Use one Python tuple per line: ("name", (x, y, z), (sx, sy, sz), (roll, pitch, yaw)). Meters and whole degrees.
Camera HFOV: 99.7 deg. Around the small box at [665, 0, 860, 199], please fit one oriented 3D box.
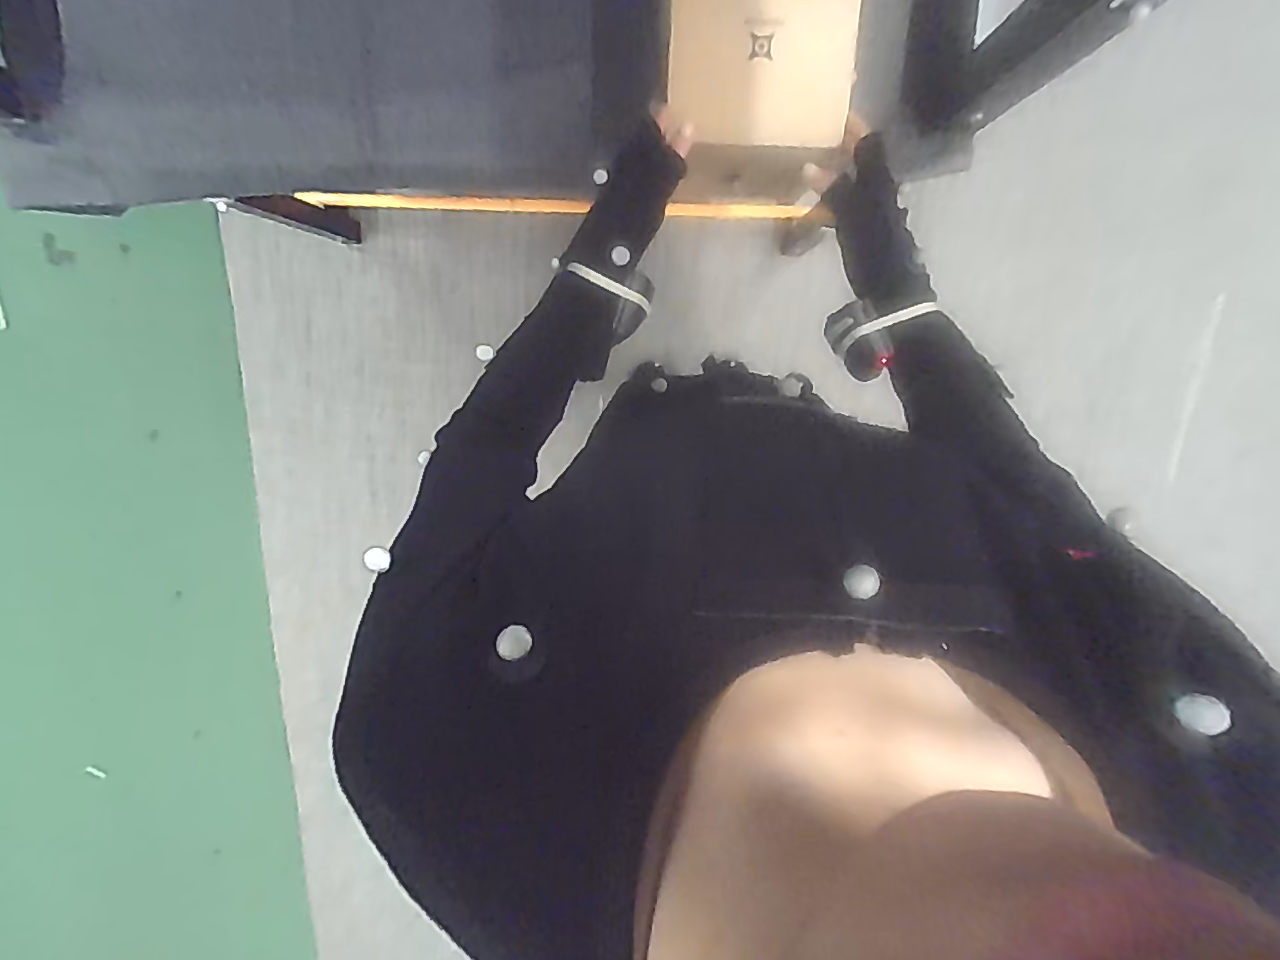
("small box", (0.113, -0.408, 0.561), (0.168, 0.176, 0.179), (3, 102, 2))
